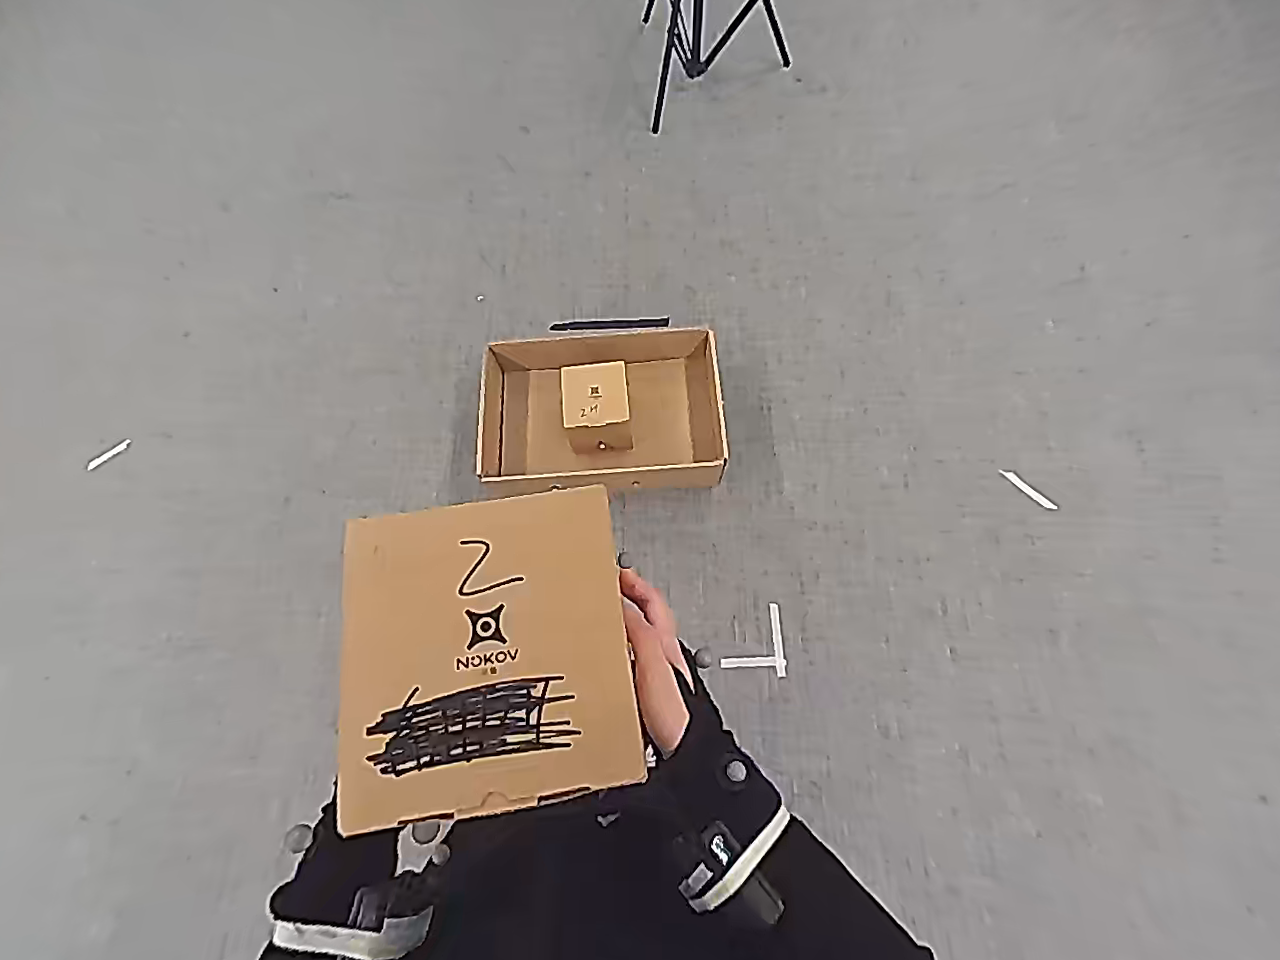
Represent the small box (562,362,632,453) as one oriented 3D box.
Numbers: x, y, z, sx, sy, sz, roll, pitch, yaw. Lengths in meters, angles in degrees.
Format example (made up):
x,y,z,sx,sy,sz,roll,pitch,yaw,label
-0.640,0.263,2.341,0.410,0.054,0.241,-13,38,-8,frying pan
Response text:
x,y,z,sx,sy,sz,roll,pitch,yaw,label
-0.111,-0.189,1.432,0.168,0.176,0.179,-6,70,1,small box
